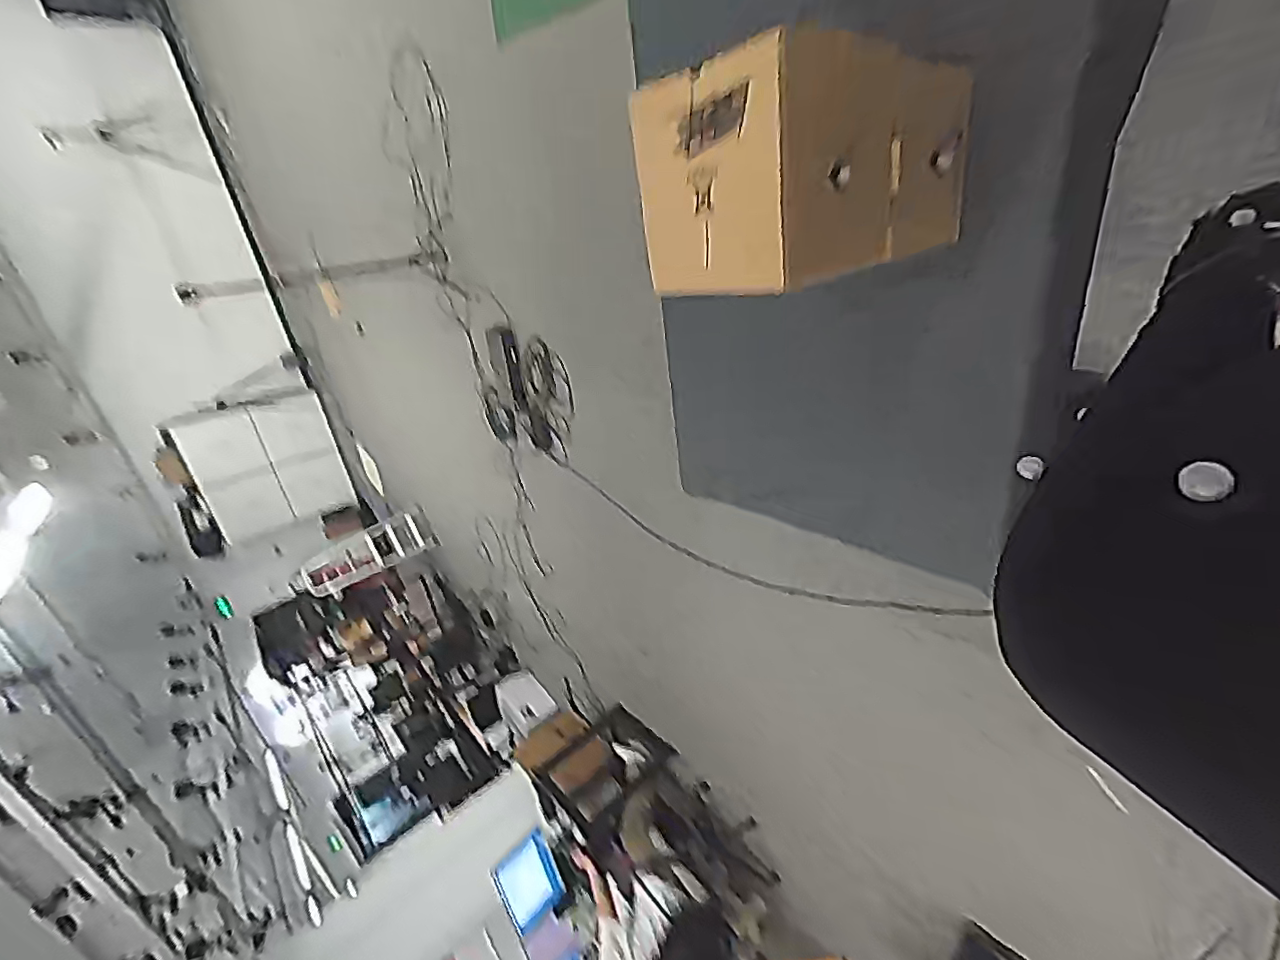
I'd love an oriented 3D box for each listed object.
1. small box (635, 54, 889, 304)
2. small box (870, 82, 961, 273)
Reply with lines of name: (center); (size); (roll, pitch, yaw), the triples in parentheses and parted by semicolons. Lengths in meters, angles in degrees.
small box: (0.121, -0.276, 0.522); (0.168, 0.176, 0.179); (19, 128, 46)
small box: (0.242, -0.333, 0.619); (0.179, 0.176, 0.168); (17, 125, 47)
